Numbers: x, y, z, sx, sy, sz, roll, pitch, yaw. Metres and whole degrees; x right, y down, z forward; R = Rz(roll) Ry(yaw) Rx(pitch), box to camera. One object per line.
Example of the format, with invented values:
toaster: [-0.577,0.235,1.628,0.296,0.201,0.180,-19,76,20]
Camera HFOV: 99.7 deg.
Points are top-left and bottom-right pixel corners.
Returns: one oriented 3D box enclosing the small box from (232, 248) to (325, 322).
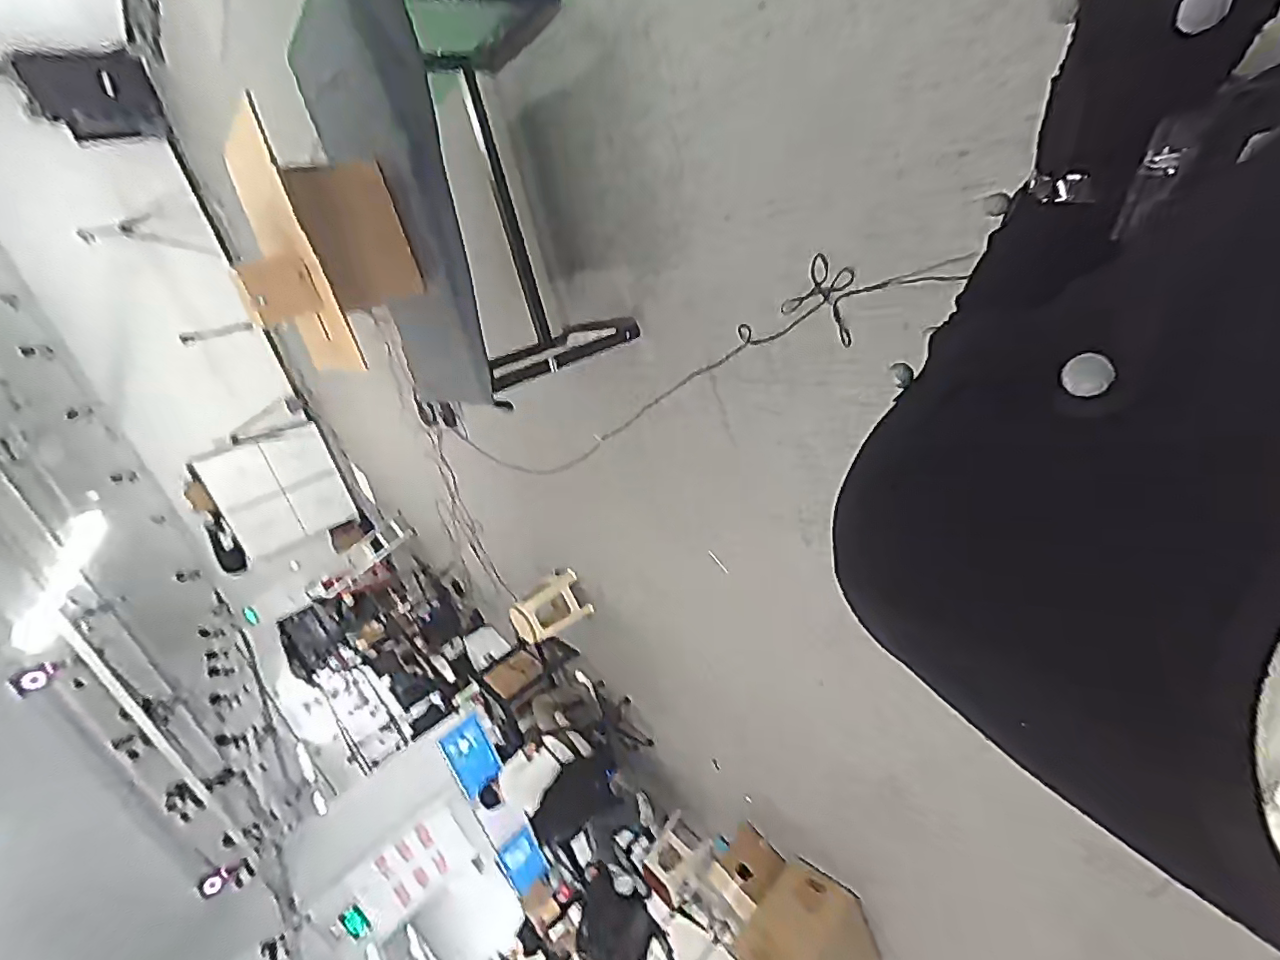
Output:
small box: [-1.045,-0.563,1.569,0.179,0.176,0.168,14,126,48]
